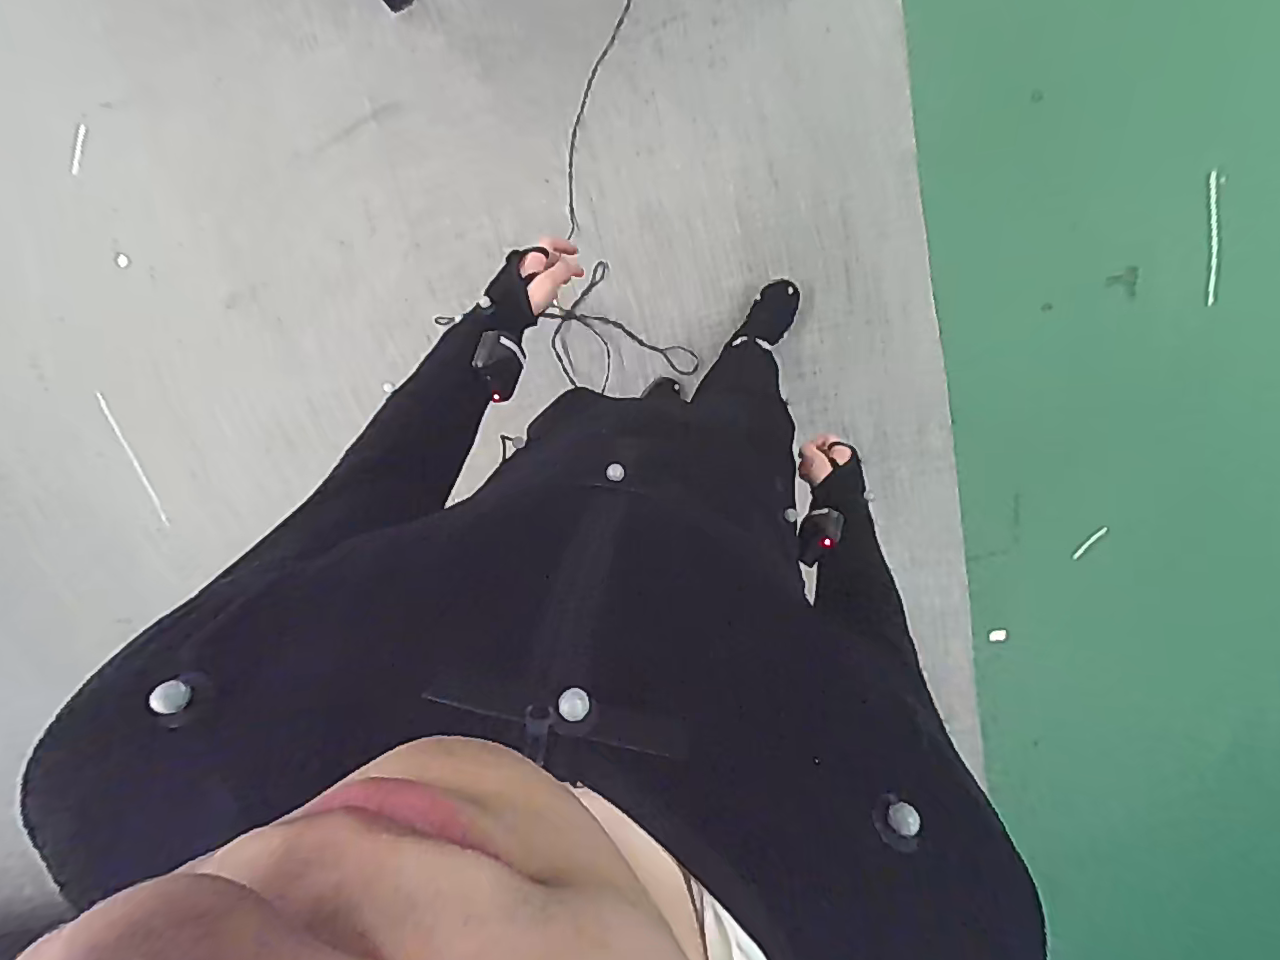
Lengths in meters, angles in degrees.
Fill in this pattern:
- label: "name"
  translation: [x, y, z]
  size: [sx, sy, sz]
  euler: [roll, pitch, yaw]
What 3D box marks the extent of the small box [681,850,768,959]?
- label: "small box"
  translation: [0.190, 0.971, 1.207]
  size: [0.168, 0.176, 0.179]
  euler: [-10, 102, 8]
